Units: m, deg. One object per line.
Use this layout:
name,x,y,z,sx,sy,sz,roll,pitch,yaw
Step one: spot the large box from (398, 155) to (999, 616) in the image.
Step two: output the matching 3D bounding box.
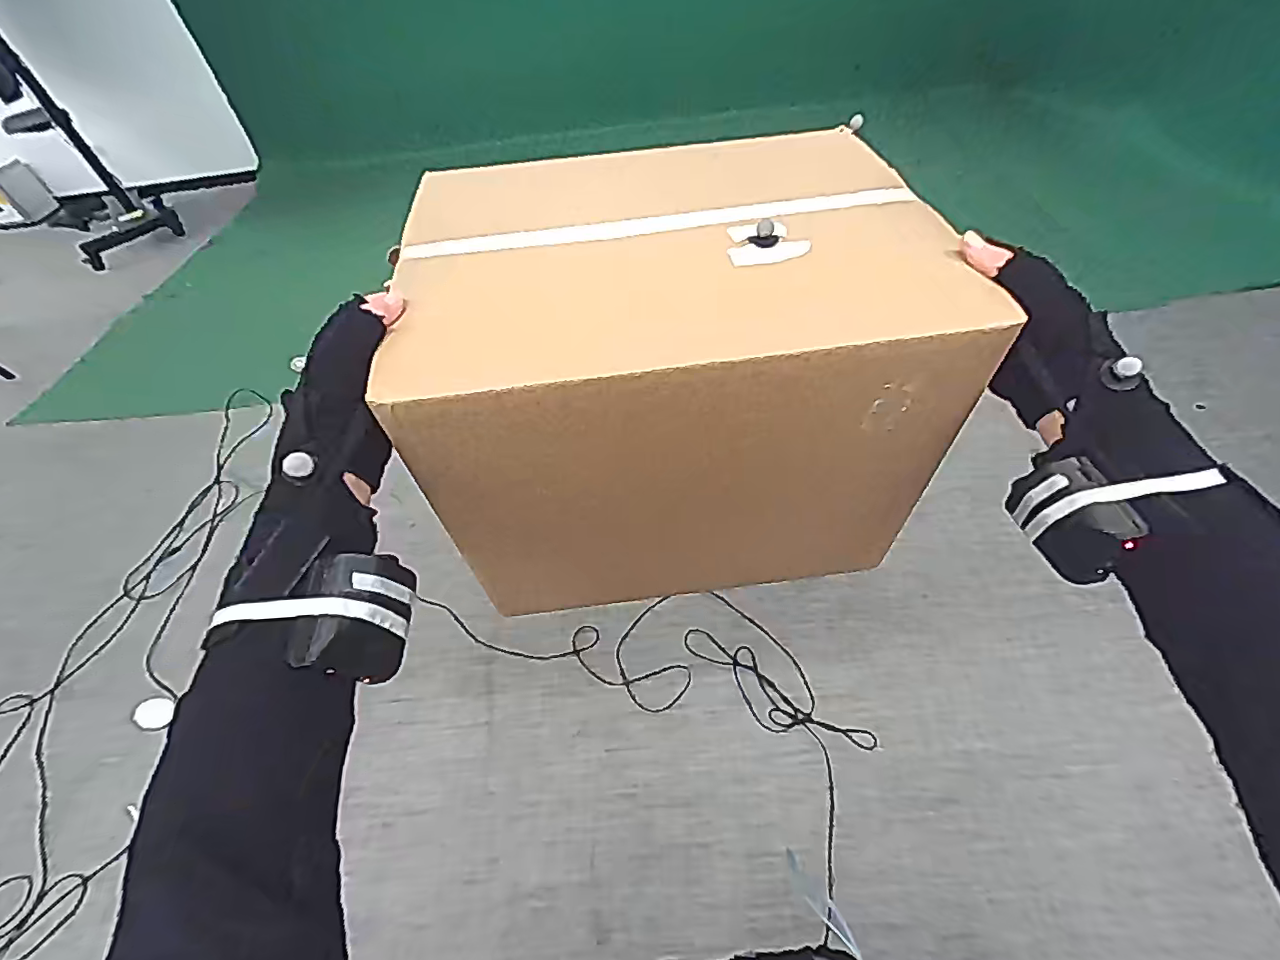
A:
large box,0.028,-0.089,0.551,0.408,0.320,0.320,-7,52,-3
